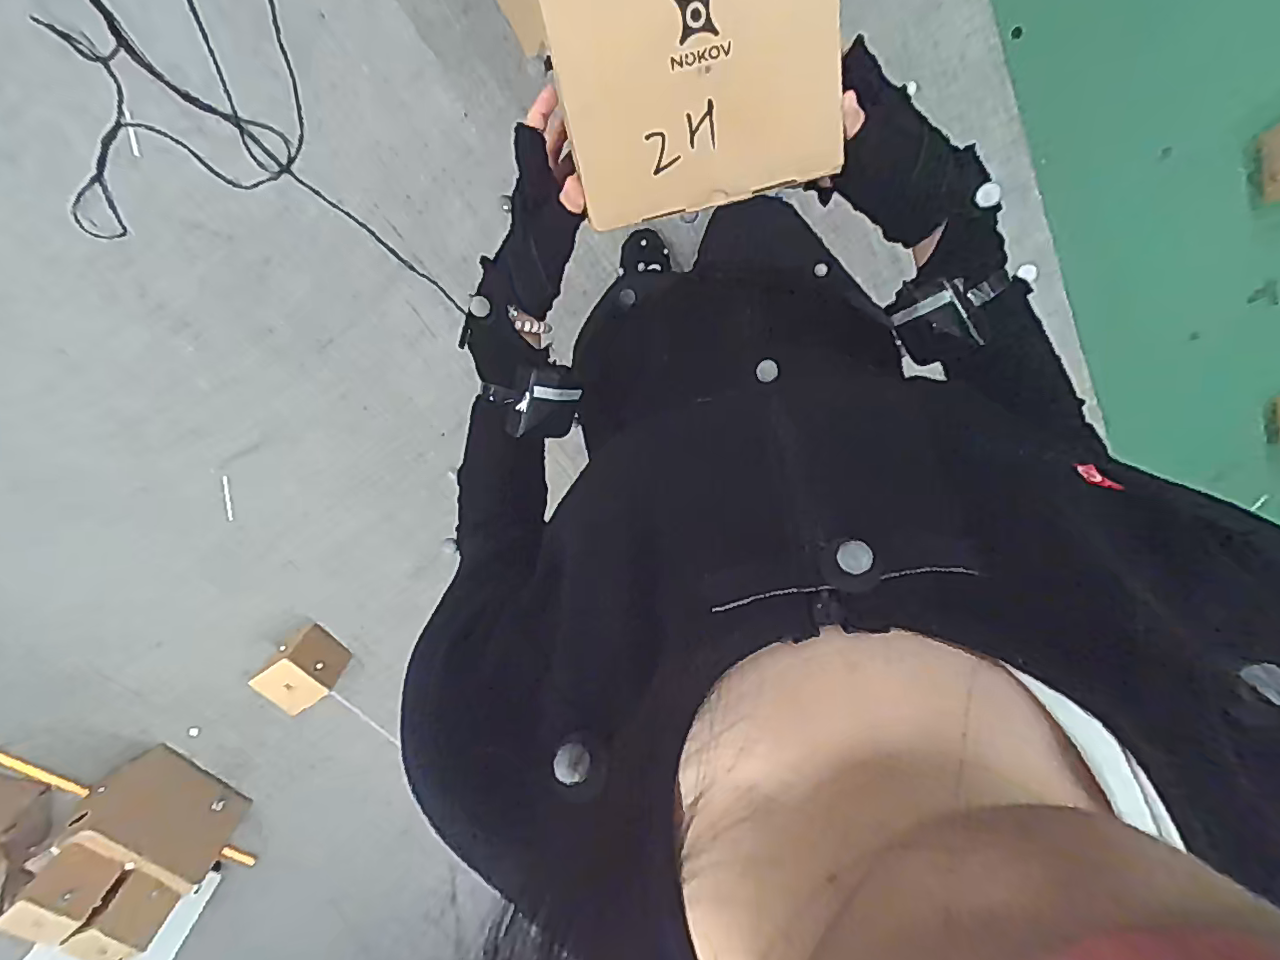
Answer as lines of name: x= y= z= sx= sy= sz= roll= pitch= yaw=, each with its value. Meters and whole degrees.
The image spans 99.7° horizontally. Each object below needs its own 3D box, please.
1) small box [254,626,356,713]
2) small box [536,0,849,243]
small box: x=-1.042 y=0.584 z=1.697 sx=0.168 sy=0.176 sz=0.179 roll=-33 pitch=113 yaw=12
small box: x=0.026 y=-0.277 z=0.369 sx=0.168 sy=0.176 sz=0.179 roll=-14 pitch=119 yaw=2
